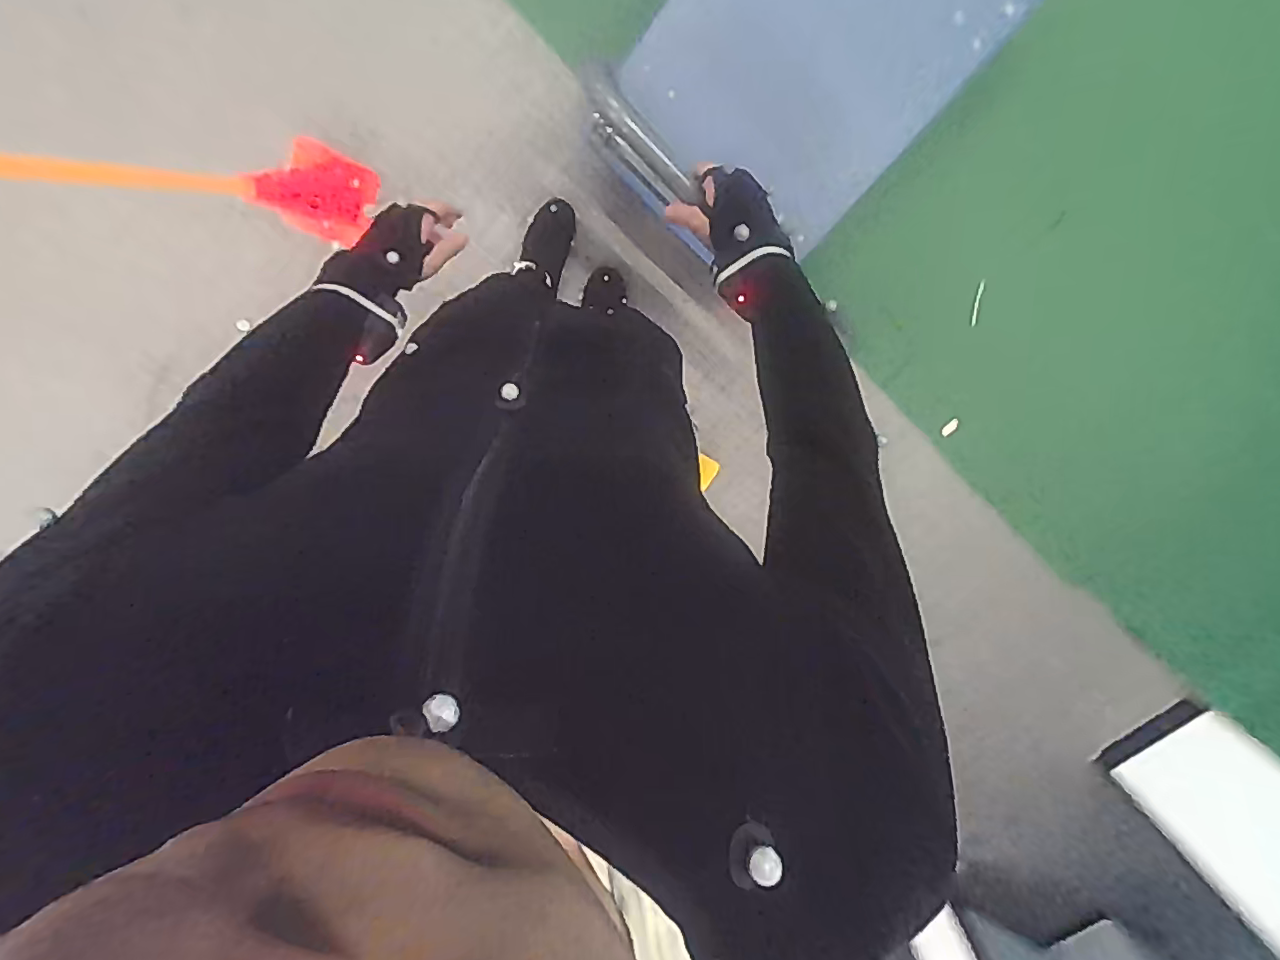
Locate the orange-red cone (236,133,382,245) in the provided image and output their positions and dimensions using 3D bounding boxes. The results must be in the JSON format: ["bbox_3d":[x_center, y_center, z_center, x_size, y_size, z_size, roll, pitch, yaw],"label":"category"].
[{"bbox_3d":[-0.750,-0.641,1.176,0.199,0.360,0.198,25,111,-13],"label":"orange-red cone"}]
